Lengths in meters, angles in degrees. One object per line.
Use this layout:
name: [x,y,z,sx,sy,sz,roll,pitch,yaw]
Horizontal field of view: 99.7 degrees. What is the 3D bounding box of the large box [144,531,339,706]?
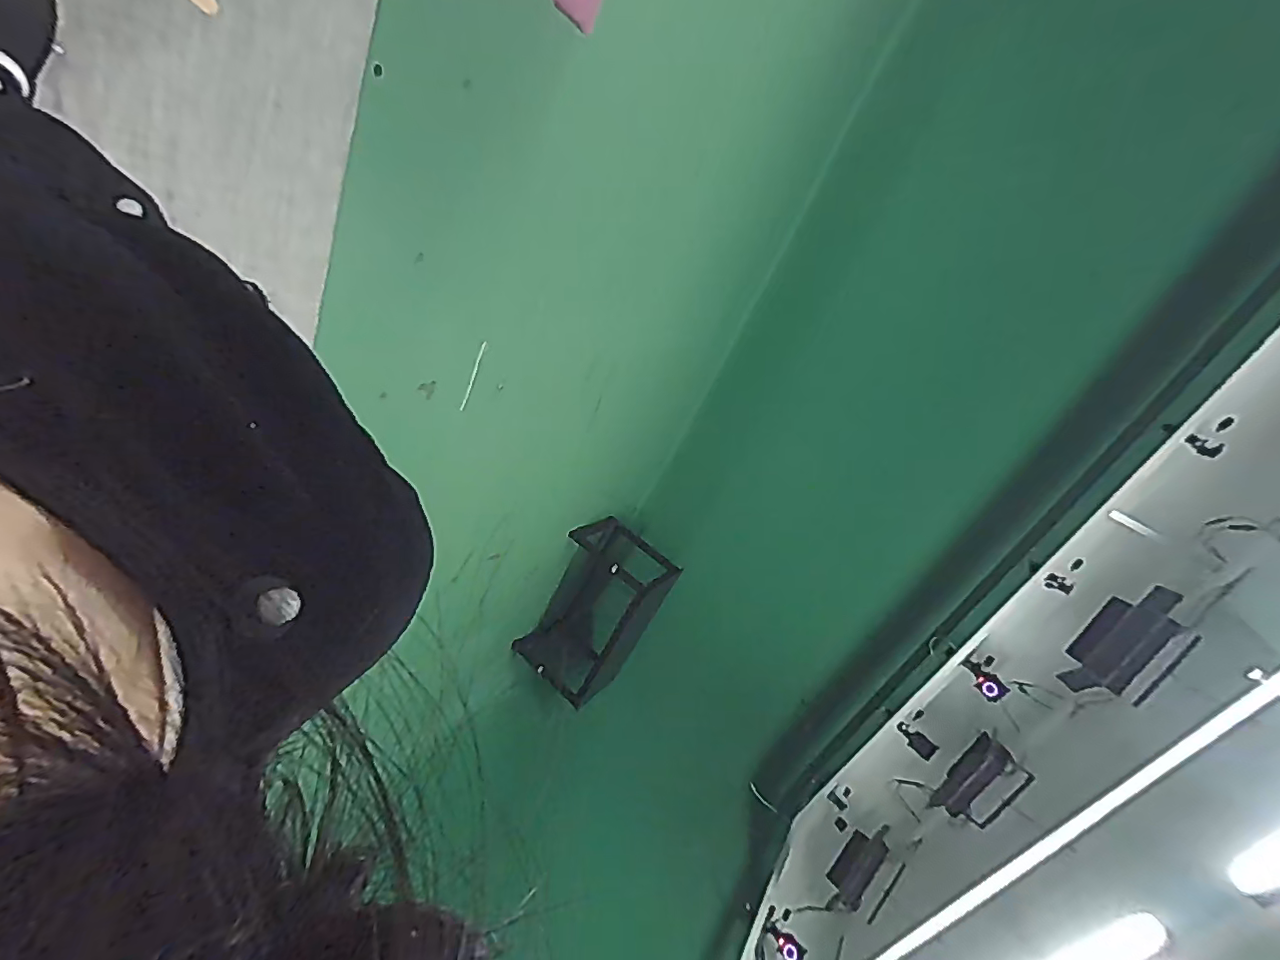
large box: [-1.287,0.442,1.787,0.408,0.320,0.320,-33,153,-46]
